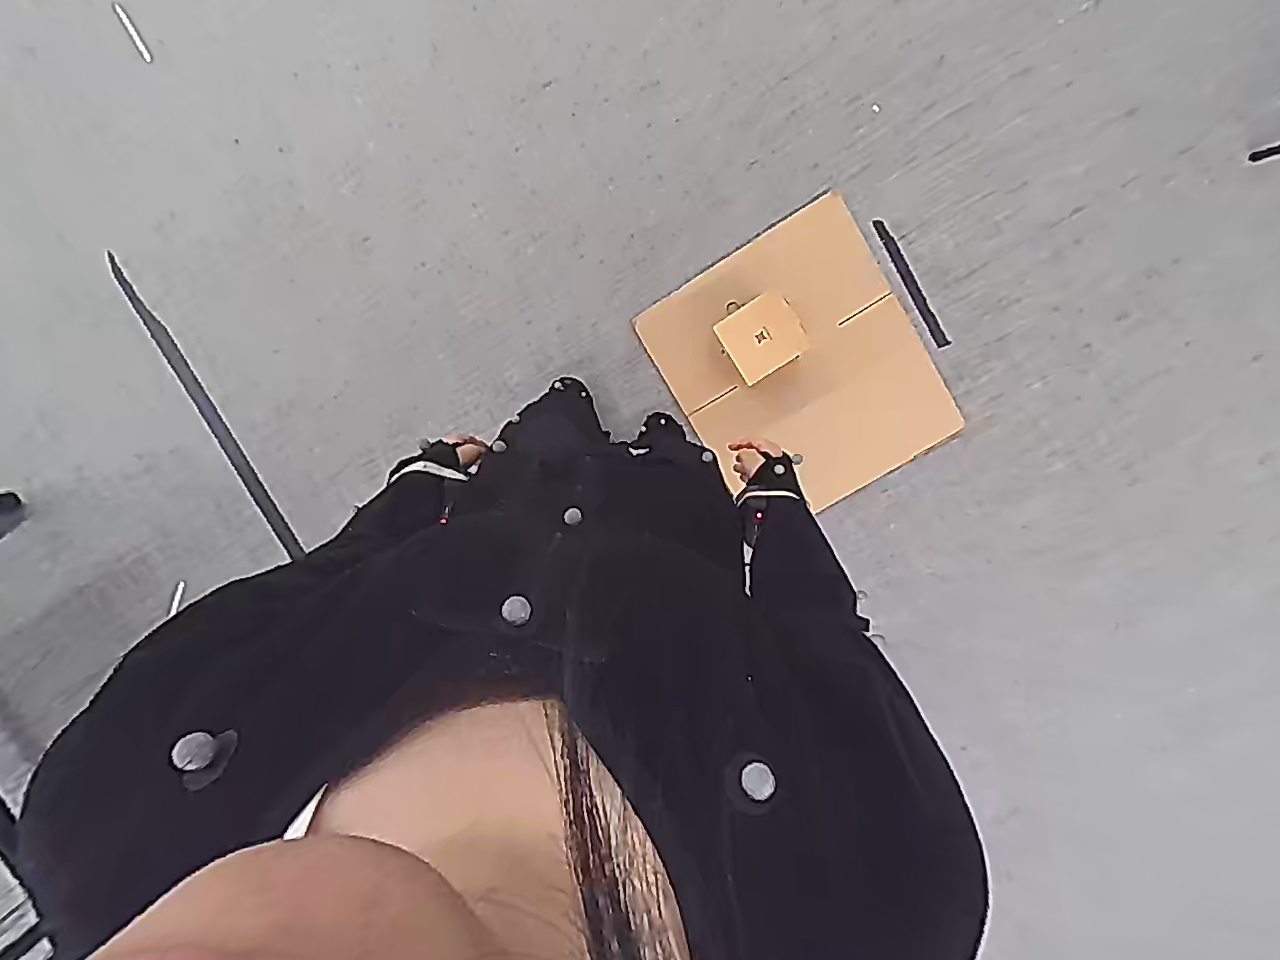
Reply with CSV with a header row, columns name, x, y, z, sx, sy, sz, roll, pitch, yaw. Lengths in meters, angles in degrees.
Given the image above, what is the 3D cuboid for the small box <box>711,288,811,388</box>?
name,x,y,z,sx,sy,sz,roll,pitch,yaw
small box,0.289,-0.337,1.328,0.179,0.176,0.168,-33,95,7
